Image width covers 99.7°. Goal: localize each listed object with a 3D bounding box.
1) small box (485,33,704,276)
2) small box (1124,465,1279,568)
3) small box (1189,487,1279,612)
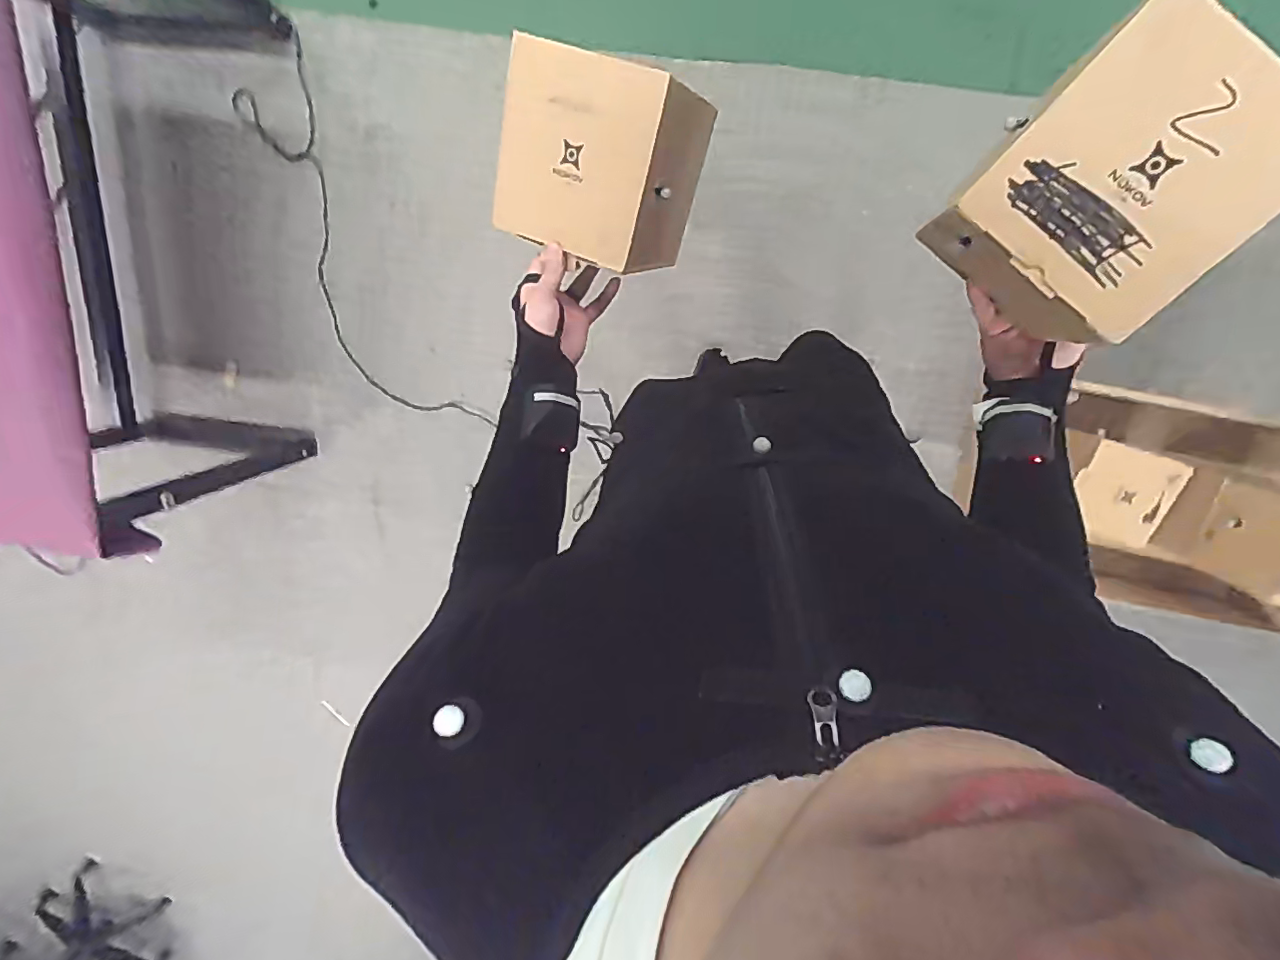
[{"bbox_3d":[-0.045,-0.344,0.595,0.168,0.176,0.179,25,121,12],"label":"small box"},{"bbox_3d":[1.113,0.079,1.043,0.179,0.176,0.168,12,106,4],"label":"small box"},{"bbox_3d":[1.093,0.122,0.888,0.179,0.176,0.168,12,107,4],"label":"small box"}]
